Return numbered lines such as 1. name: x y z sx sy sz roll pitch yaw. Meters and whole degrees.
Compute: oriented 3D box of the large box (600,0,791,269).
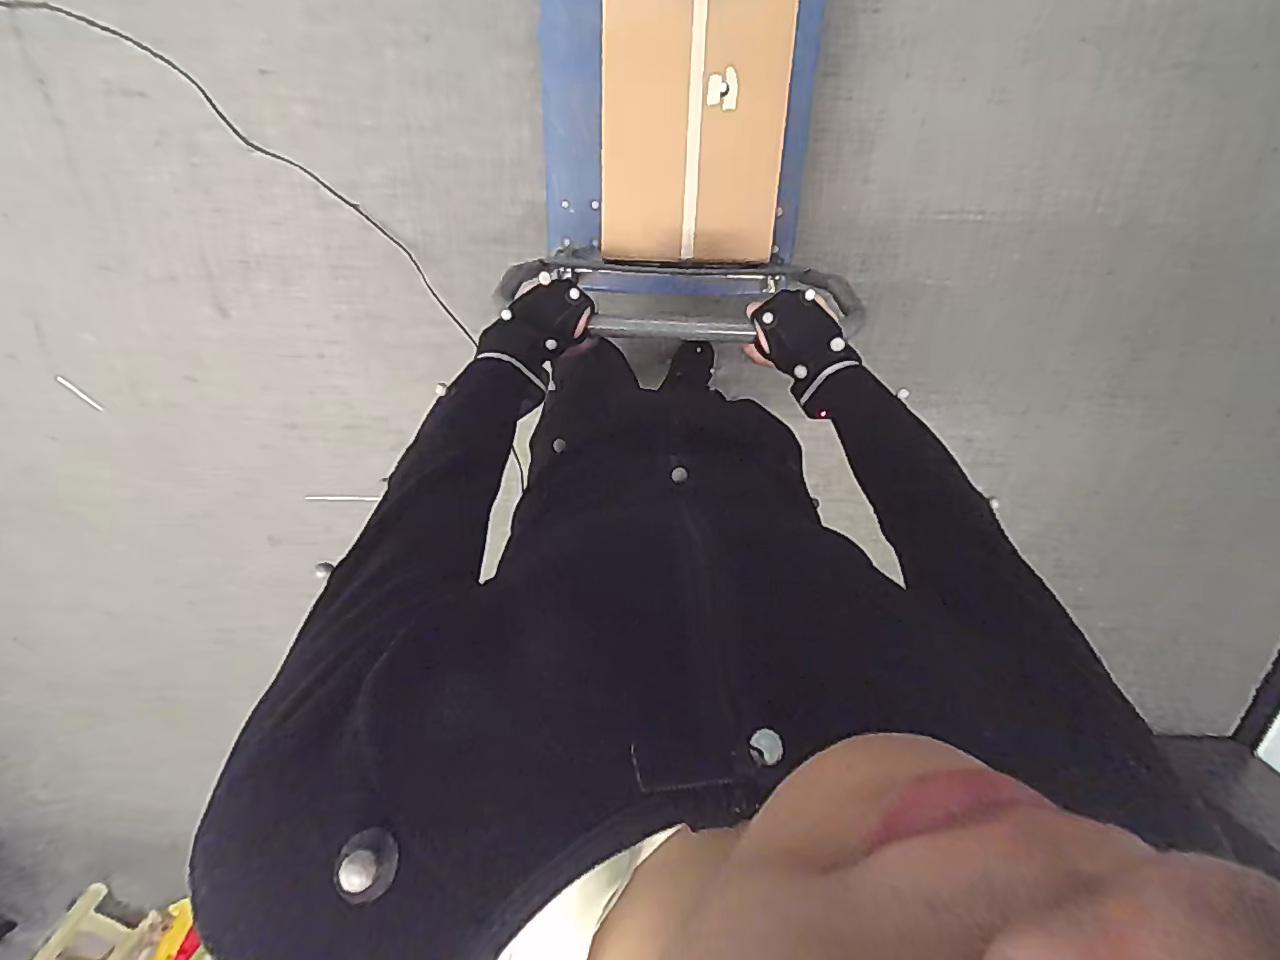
1. large box: 0.093 -0.638 1.071 0.320 0.320 0.408 2 110 1
